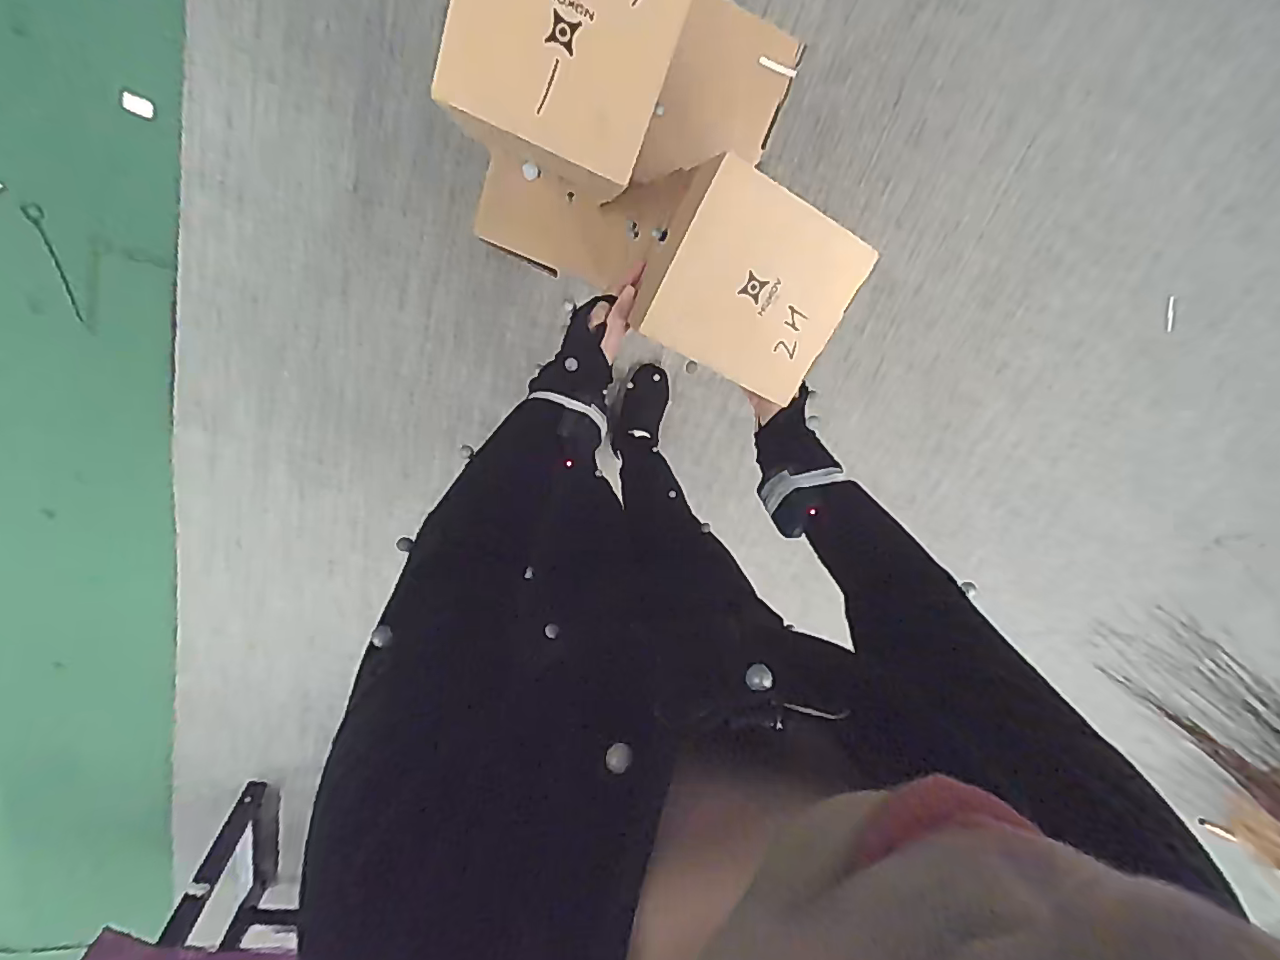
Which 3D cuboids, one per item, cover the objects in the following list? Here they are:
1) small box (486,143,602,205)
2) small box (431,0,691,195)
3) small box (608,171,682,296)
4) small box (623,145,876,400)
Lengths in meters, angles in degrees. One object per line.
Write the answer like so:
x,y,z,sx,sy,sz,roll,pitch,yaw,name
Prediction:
-0.105,-0.517,0.775,0.168,0.176,0.179,18,108,-14,small box
-0.066,-0.380,0.481,0.168,0.176,0.179,18,110,-14,small box
0.056,-0.356,0.862,0.168,0.176,0.179,20,108,-15,small box
0.095,-0.209,0.566,0.179,0.176,0.168,23,109,-17,small box
